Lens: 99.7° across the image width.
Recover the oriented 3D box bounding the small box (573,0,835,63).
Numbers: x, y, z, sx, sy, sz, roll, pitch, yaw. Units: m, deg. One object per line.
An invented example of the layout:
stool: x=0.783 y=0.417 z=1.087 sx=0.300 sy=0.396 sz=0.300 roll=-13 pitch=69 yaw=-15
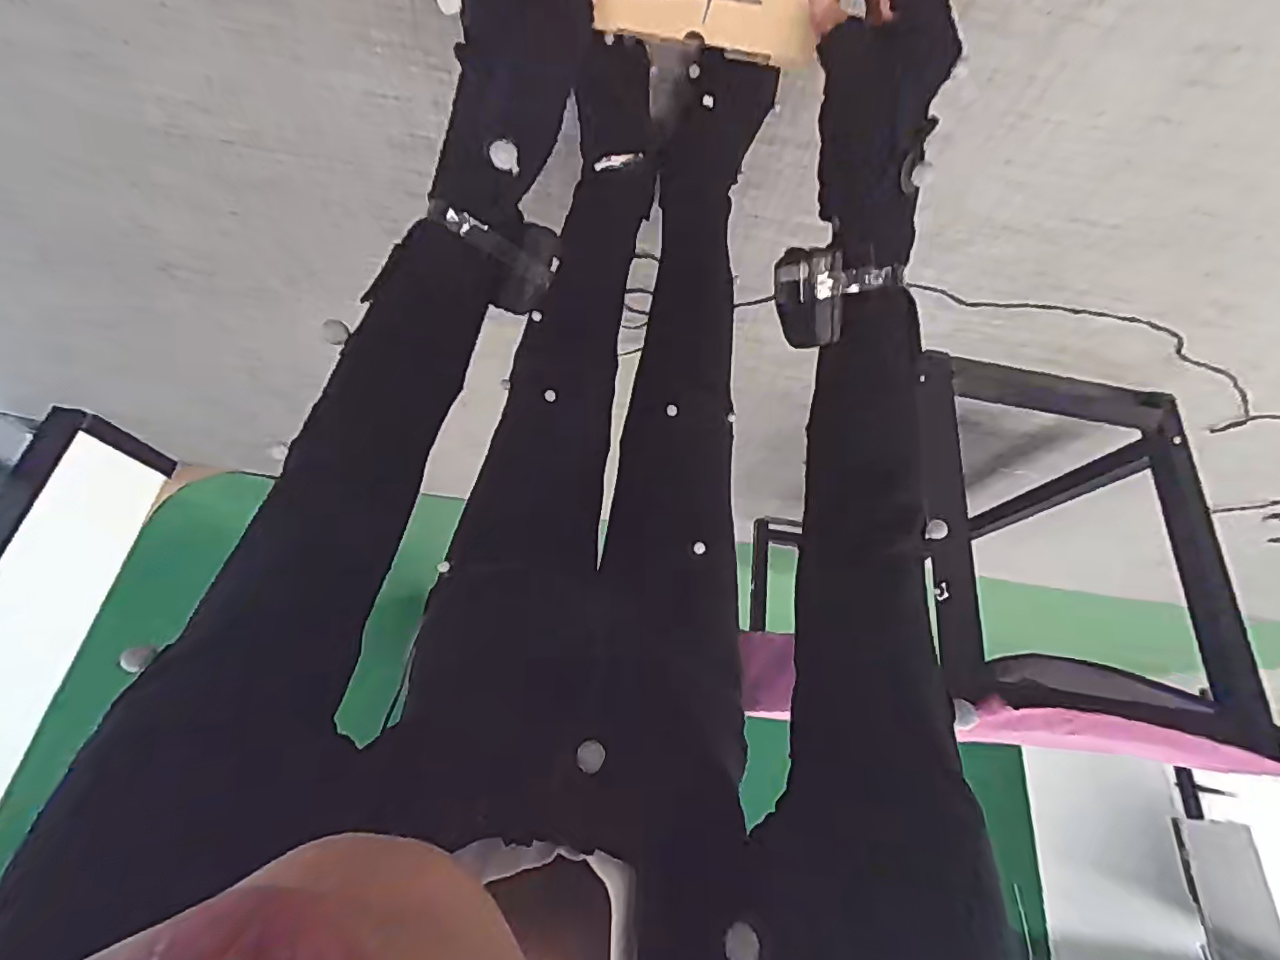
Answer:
small box: x=0.056 y=-0.397 z=0.313 sx=0.168 sy=0.176 sz=0.179 roll=9 pitch=154 yaw=-2
